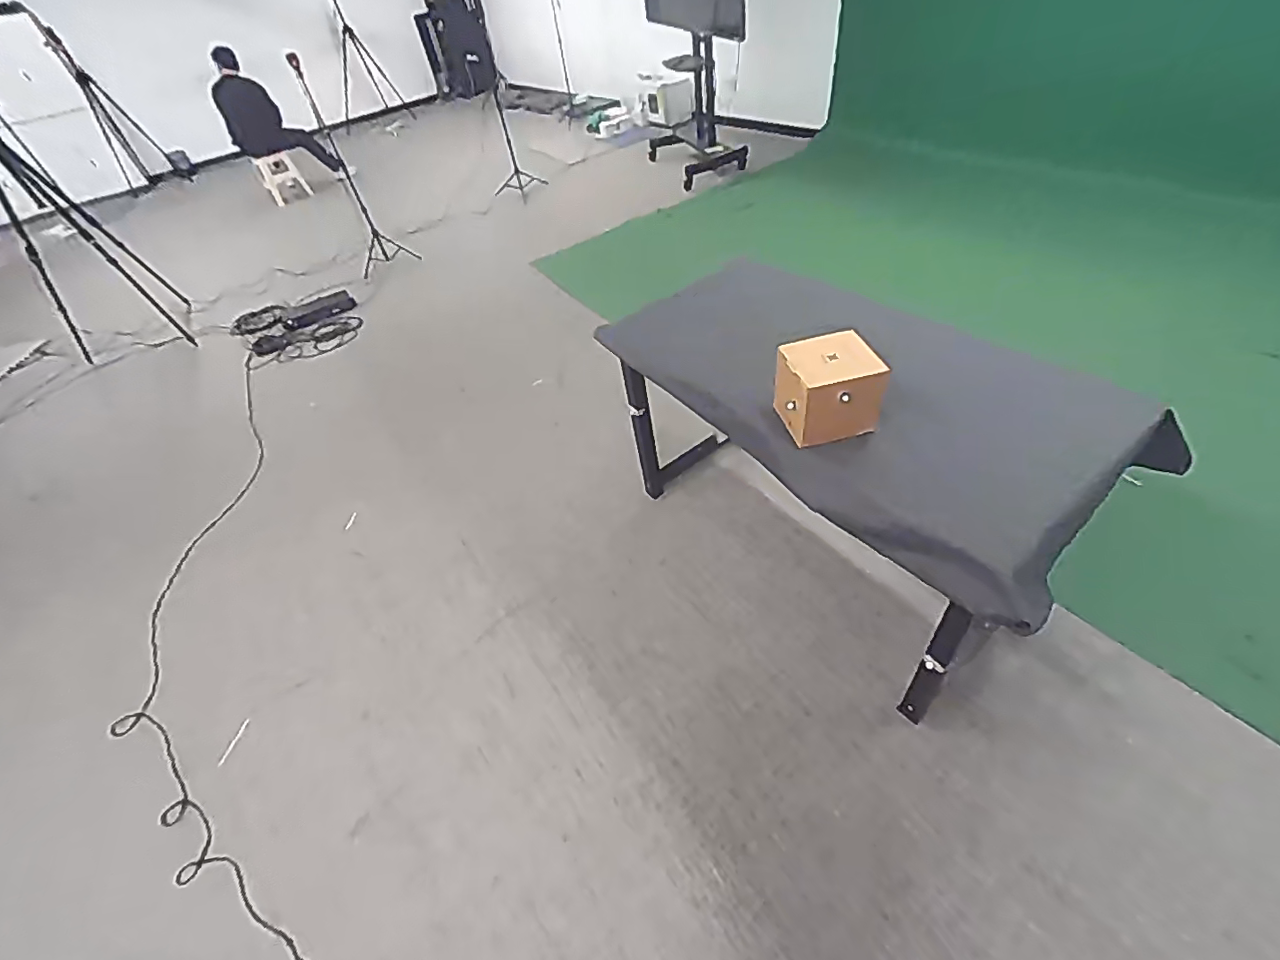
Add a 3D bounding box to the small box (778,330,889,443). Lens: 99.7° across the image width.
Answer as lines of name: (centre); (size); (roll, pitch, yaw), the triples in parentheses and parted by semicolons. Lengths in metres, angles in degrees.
small box: (0.412, -0.202, 1.189); (0.179, 0.176, 0.168); (-13, 46, -3)
